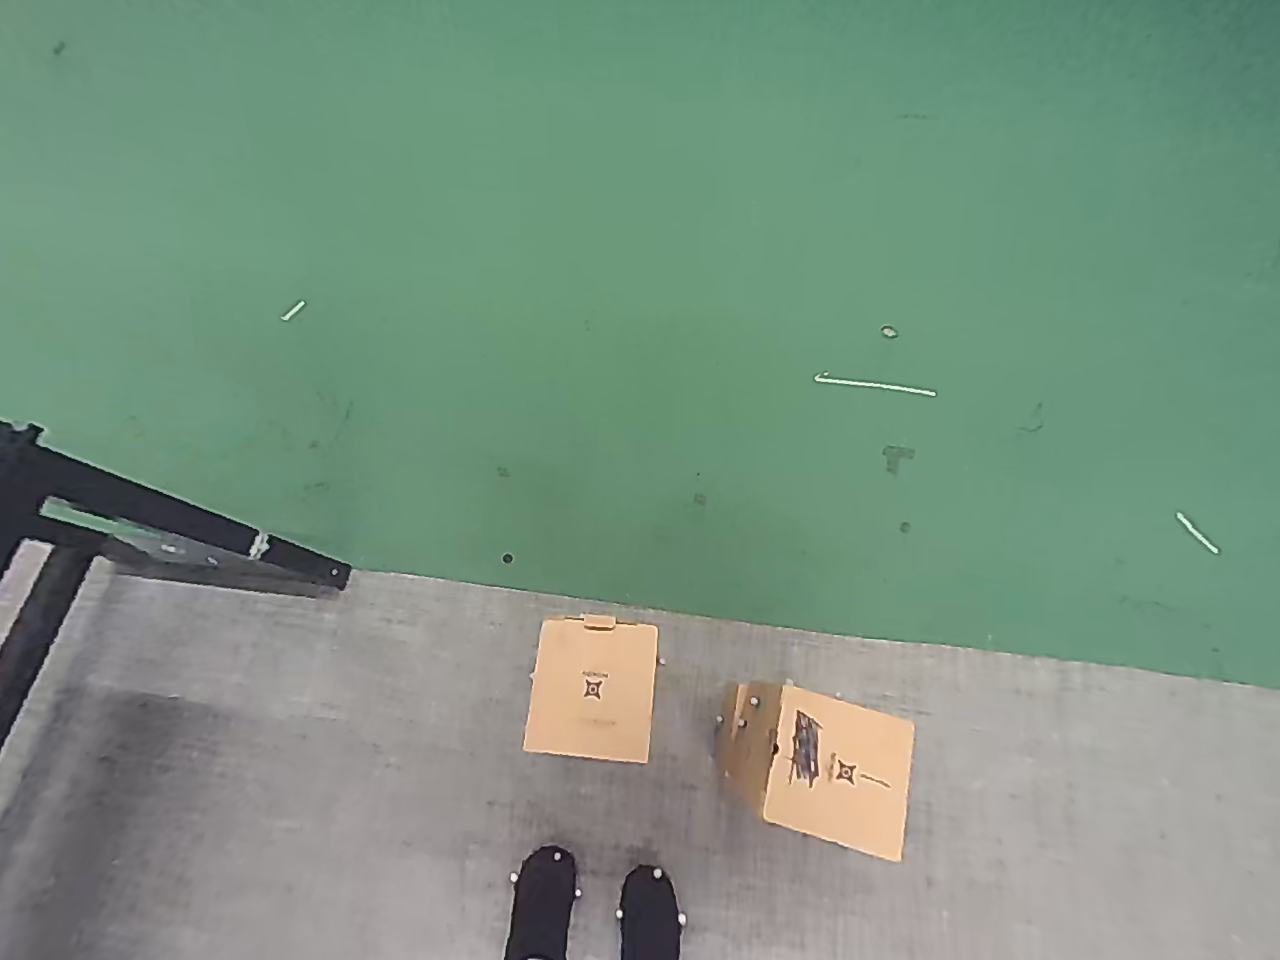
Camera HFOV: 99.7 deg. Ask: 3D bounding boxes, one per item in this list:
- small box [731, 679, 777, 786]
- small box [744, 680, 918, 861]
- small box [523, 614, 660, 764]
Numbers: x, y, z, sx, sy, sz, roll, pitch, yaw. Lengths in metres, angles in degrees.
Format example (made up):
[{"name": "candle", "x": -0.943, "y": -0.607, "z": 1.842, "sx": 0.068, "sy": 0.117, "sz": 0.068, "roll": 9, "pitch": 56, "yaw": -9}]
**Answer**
[{"name": "small box", "x": 0.261, "y": 0.445, "z": 0.905, "sx": 0.179, "sy": 0.176, "sz": 0.168, "roll": 17, "pitch": 72, "yaw": 6}, {"name": "small box", "x": 0.253, "y": 0.388, "z": 0.751, "sx": 0.179, "sy": 0.176, "sz": 0.168, "roll": 15, "pitch": 71, "yaw": 5}, {"name": "small box", "x": -0.060, "y": 0.301, "z": 0.789, "sx": 0.168, "sy": 0.176, "sz": 0.179, "roll": 3, "pitch": 70, "yaw": 3}]
